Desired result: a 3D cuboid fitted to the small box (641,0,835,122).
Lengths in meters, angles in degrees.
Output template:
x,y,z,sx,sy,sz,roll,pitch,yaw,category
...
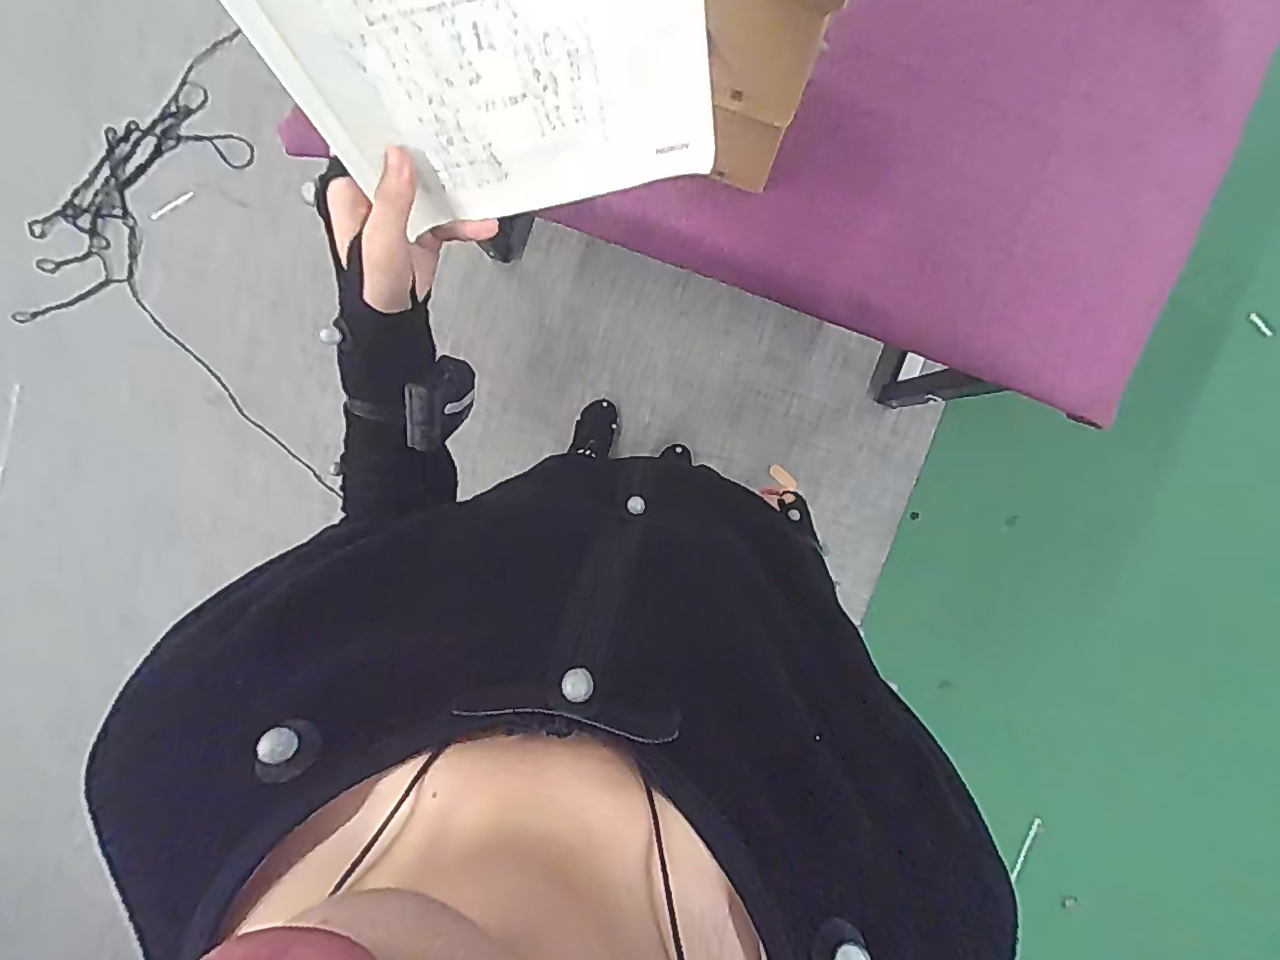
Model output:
x,y,z,sx,sy,sz,roll,pitch,yaw,category
0.105,-0.482,0.501,0.168,0.176,0.179,21,93,1,small box
